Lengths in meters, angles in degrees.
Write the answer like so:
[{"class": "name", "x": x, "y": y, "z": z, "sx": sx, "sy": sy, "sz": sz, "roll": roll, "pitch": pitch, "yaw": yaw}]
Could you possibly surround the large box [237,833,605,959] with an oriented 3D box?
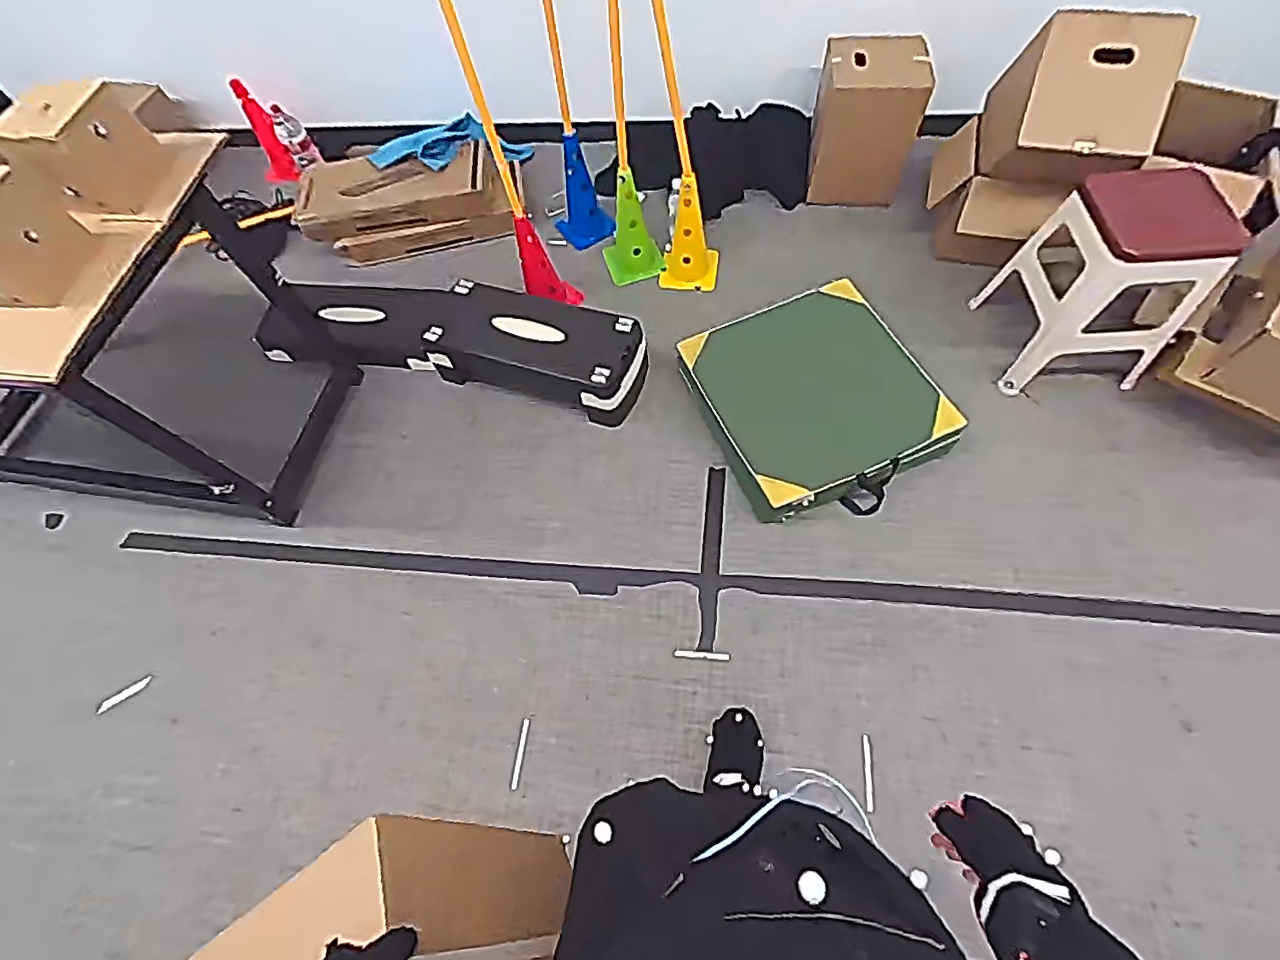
[{"class": "large box", "x": -0.266, "y": 0.704, "z": 0.679, "sx": 0.320, "sy": 0.408, "sz": 0.320, "roll": -38, "pitch": 46, "yaw": 0}]
